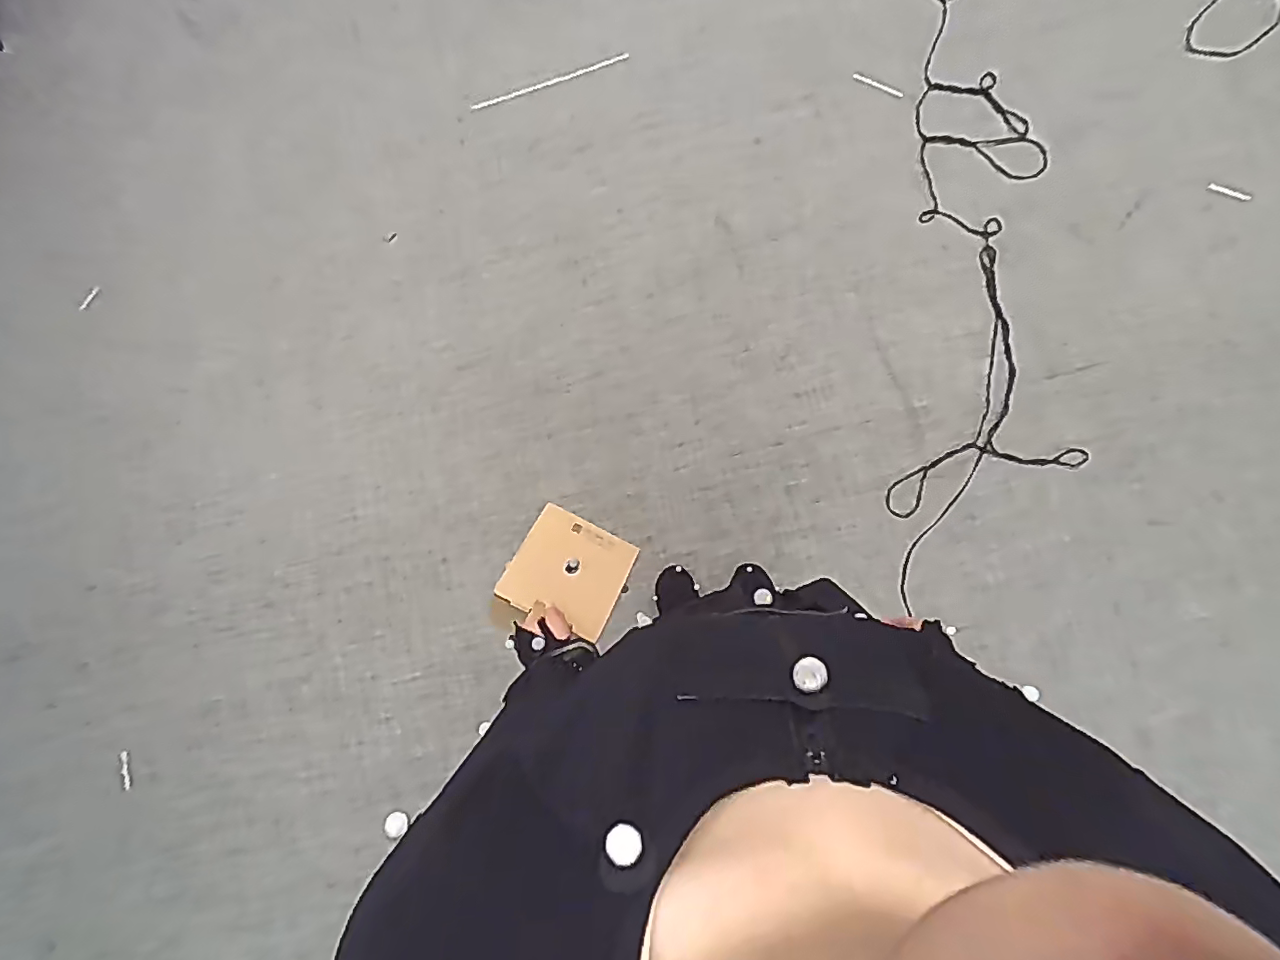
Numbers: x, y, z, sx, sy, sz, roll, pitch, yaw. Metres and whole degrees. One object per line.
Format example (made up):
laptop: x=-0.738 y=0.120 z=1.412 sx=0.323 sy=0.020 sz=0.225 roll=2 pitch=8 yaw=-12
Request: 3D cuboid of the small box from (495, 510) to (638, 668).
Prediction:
small box: x=-0.116 y=0.175 z=0.871 sx=0.168 sy=0.179 sz=0.176 roll=26 pitch=57 yaw=-1
